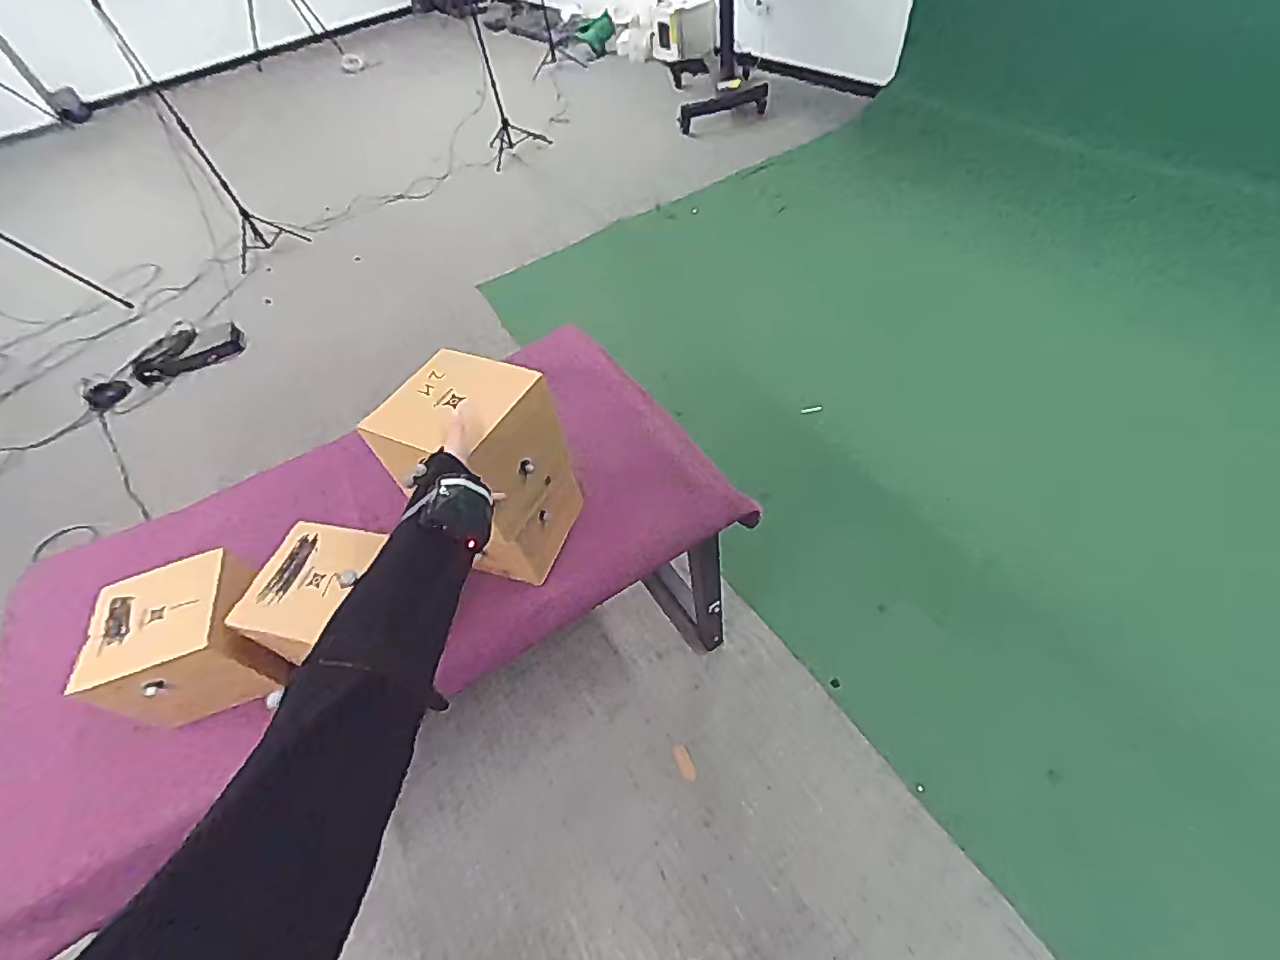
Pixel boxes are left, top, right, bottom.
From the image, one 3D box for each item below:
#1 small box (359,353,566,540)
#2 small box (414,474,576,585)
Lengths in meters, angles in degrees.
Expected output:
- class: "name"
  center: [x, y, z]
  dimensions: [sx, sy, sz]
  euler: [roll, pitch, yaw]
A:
- class: "small box"
  center: [-0.224, -0.042, 0.731]
  dimensions: [0.179, 0.176, 0.168]
  euler: [18, 54, 24]
- class: "small box"
  center: [-0.219, 0.047, 0.875]
  dimensions: [0.168, 0.176, 0.179]
  euler: [11, 54, 18]
